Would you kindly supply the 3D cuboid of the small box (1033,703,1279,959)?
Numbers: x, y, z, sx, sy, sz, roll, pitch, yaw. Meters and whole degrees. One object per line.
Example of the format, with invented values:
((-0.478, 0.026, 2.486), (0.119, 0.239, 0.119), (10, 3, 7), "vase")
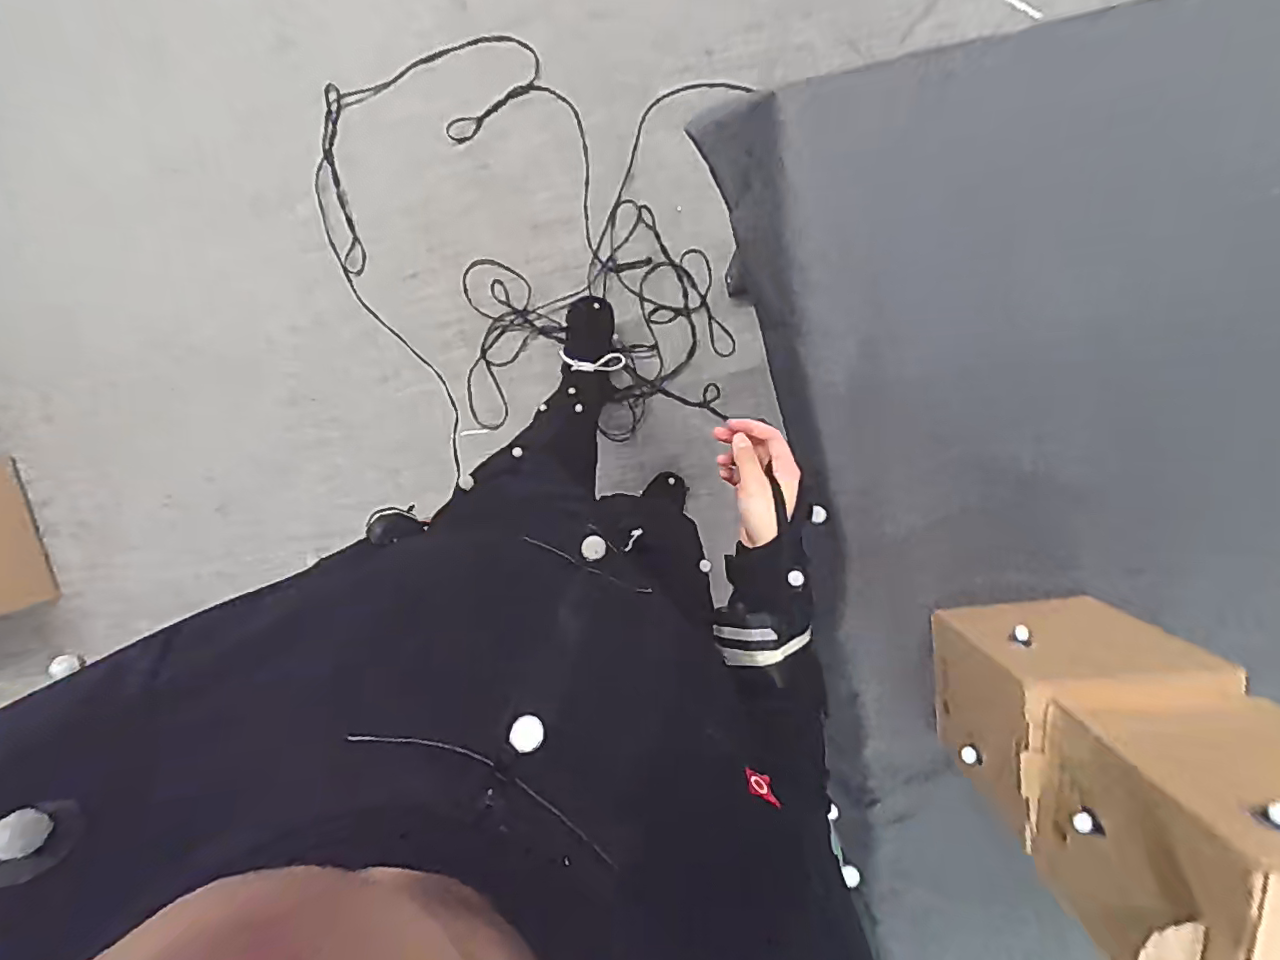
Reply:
((0.427, 0.278, 0.384), (0.179, 0.176, 0.168), (-2, 100, 4), "small box")

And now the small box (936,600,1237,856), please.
((0.419, 0.232, 0.542), (0.179, 0.176, 0.168), (-7, 99, 3), "small box")

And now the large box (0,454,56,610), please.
((-1.790, 0.168, 1.326), (0.320, 0.320, 0.408), (-11, 97, 4), "large box")
